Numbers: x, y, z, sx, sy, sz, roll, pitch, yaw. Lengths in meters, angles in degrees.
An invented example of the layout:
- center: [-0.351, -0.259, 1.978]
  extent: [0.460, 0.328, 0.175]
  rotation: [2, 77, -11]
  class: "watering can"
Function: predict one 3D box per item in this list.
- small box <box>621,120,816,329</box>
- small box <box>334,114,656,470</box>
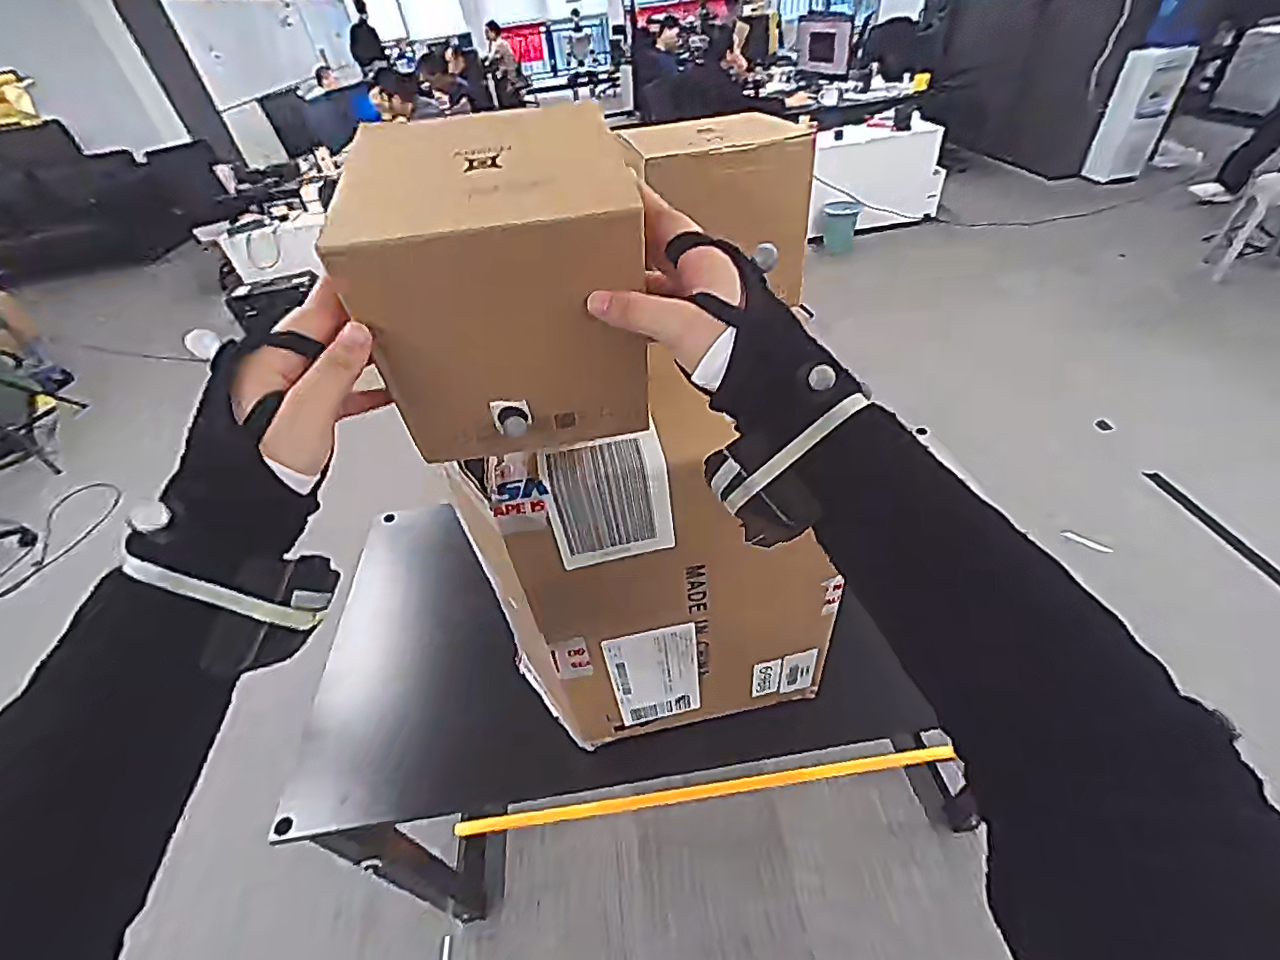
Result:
- center: [0.078, -0.290, 0.612]
  extent: [0.168, 0.176, 0.179]
  rotation: [-11, 40, -4]
  class: "small box"
- center: [-0.086, -0.133, 0.390]
  extent: [0.168, 0.176, 0.179]
  rotation: [-11, 52, -6]
  class: "small box"
